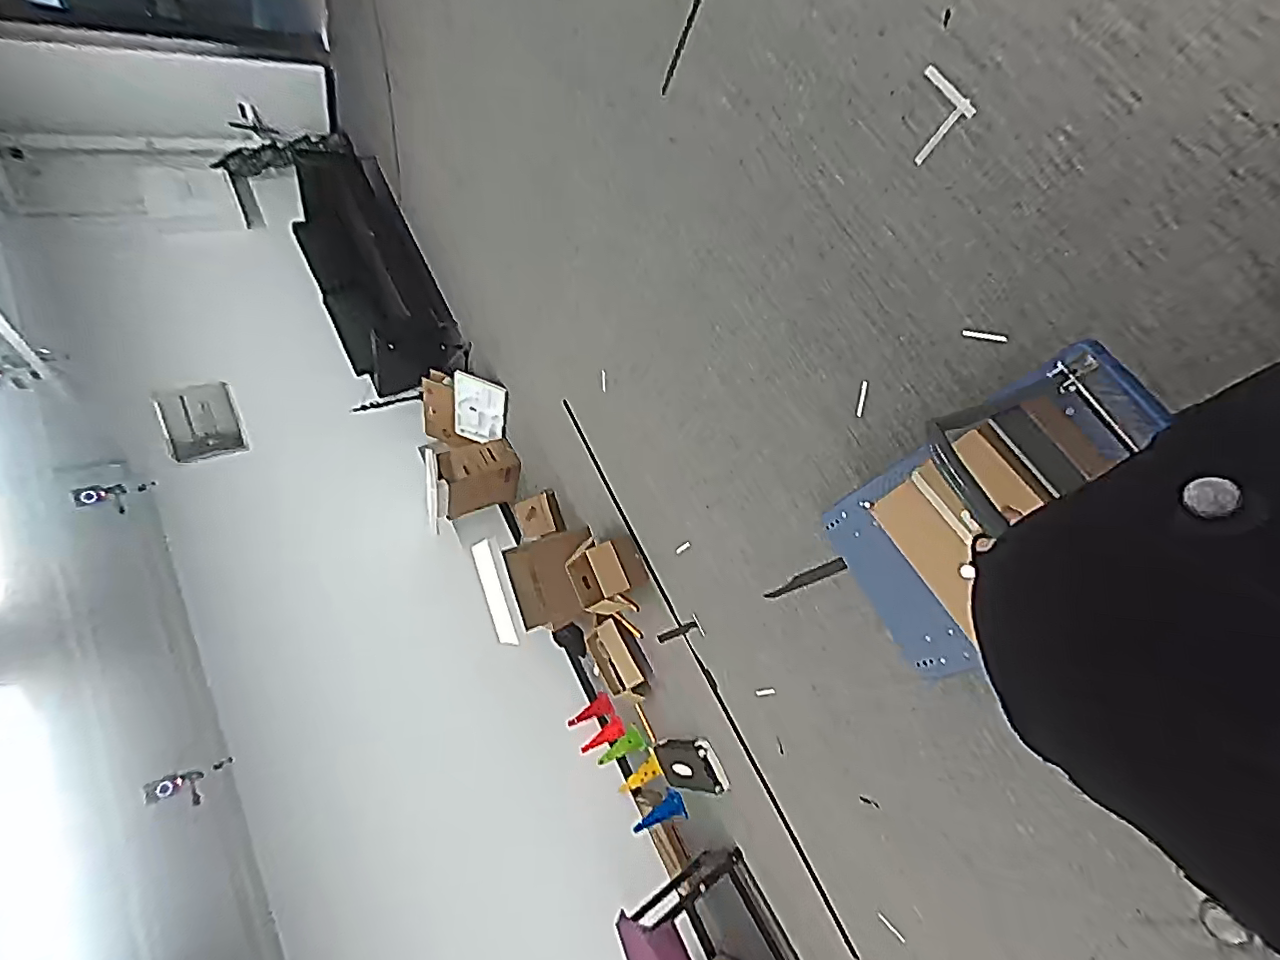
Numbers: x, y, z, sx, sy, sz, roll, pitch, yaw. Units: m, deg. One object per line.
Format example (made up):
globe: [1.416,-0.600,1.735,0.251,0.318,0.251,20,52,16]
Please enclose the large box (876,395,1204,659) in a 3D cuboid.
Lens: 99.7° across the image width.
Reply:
large box: [0.808,0.091,1.131,0.408,0.320,0.320,59,146,20]
